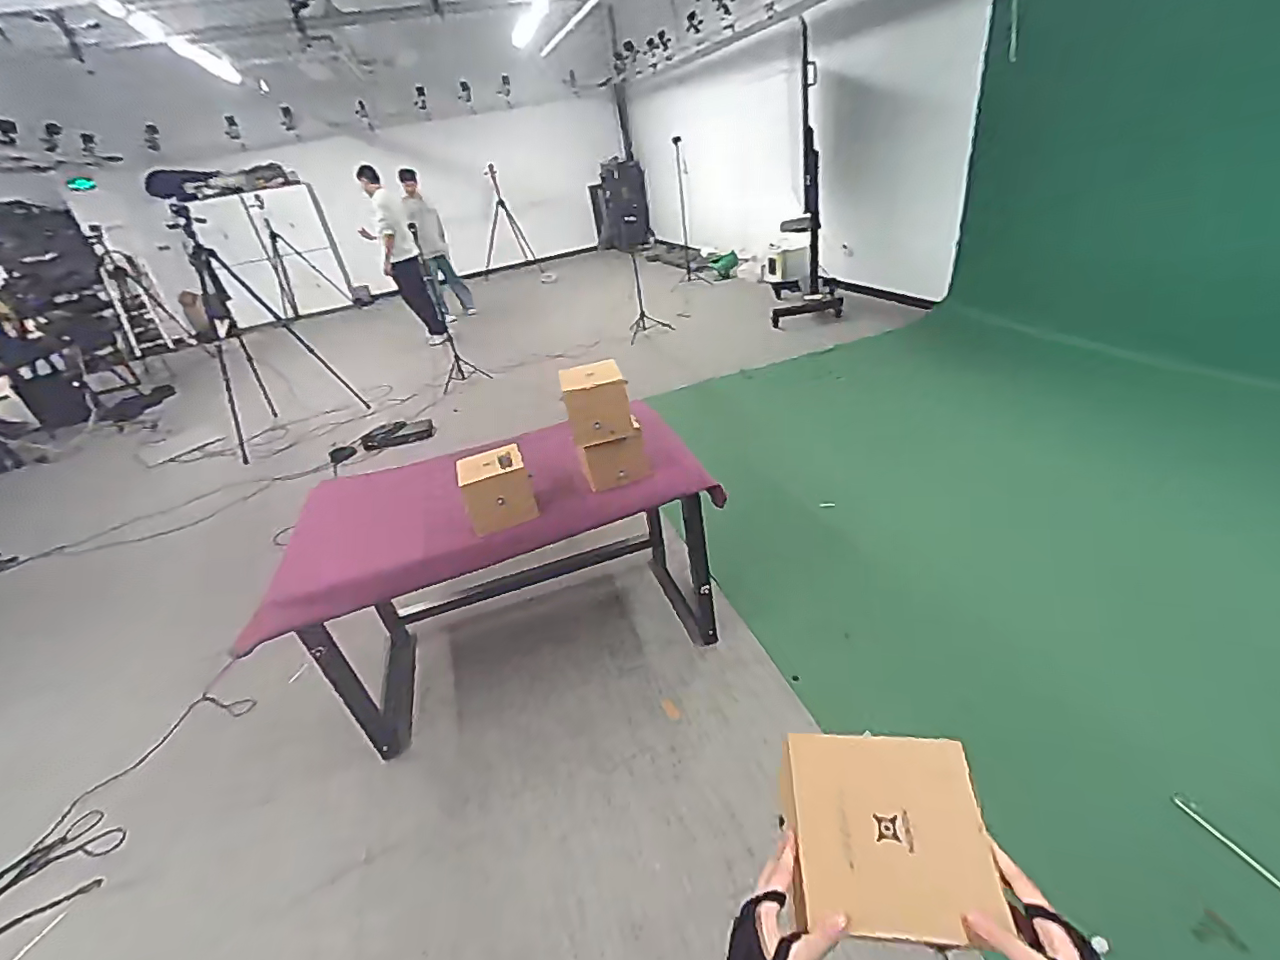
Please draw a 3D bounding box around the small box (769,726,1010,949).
[{"bbox_3d":[0.236,0.374,0.567,0.179,0.176,0.168,-1,49,8],"label":"small box"}]

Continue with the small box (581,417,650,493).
[{"bbox_3d":[-0.077,-0.084,1.607,0.179,0.176,0.168,-17,30,-11],"label":"small box"}]

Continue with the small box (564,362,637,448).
[{"bbox_3d":[-0.112,-0.210,1.506,0.168,0.176,0.179,-14,31,-4],"label":"small box"}]
